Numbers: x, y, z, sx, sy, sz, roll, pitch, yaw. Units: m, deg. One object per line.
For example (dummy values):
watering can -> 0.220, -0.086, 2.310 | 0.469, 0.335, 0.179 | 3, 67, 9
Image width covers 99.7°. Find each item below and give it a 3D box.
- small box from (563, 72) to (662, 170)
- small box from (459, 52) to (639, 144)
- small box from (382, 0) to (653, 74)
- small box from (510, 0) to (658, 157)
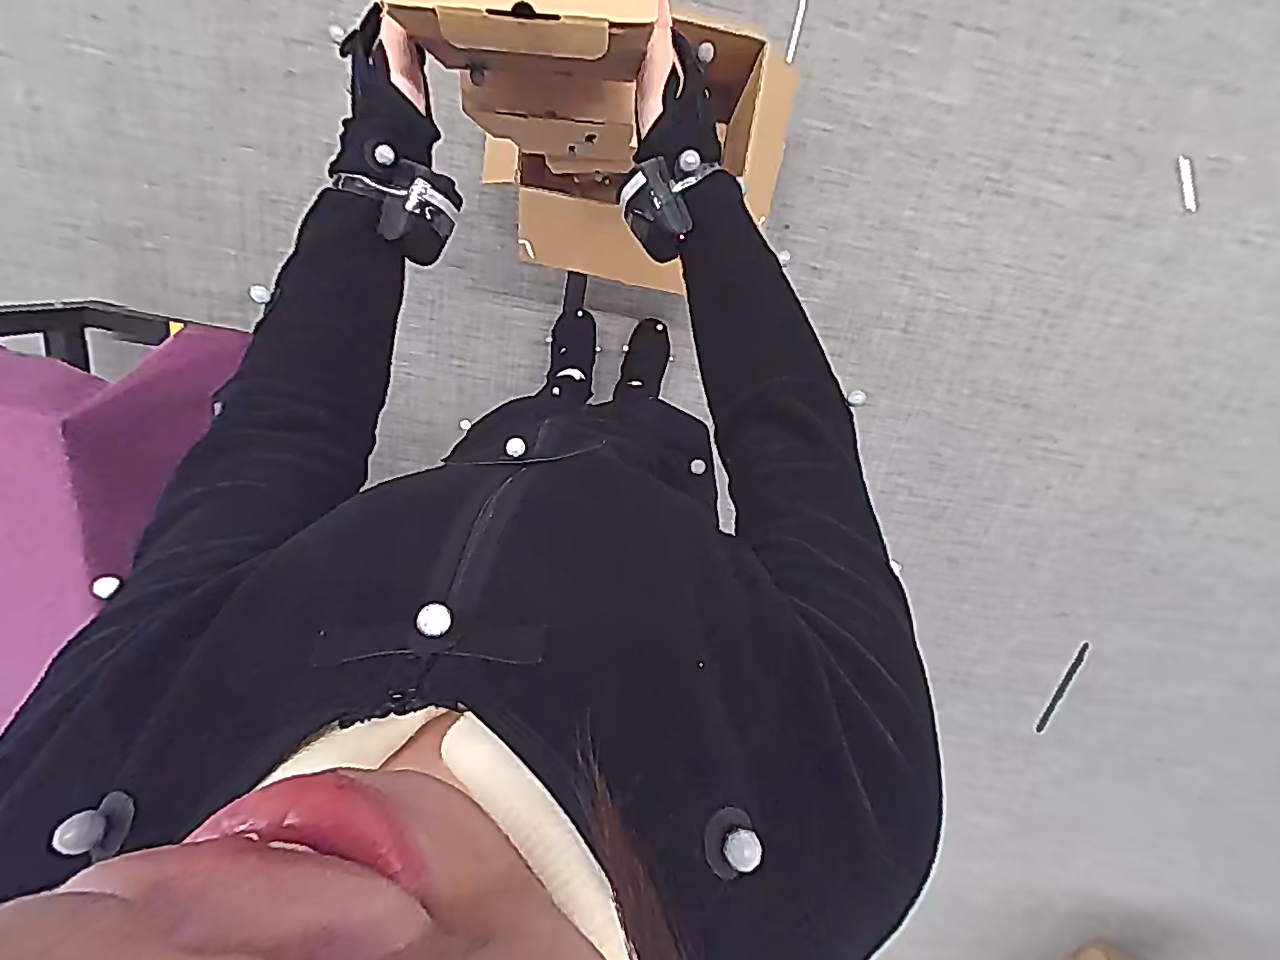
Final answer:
small box -> -0.064, -0.678, 0.984 | 0.179, 0.176, 0.168 | -11, 115, 0
small box -> -0.083, -0.453, 0.544 | 0.168, 0.176, 0.179 | 3, 115, -6
small box -> -0.074, -0.391, 0.355 | 0.168, 0.176, 0.179 | 0, 117, -6
small box -> -0.075, -0.522, 0.693 | 0.179, 0.176, 0.168 | 2, 116, -5
